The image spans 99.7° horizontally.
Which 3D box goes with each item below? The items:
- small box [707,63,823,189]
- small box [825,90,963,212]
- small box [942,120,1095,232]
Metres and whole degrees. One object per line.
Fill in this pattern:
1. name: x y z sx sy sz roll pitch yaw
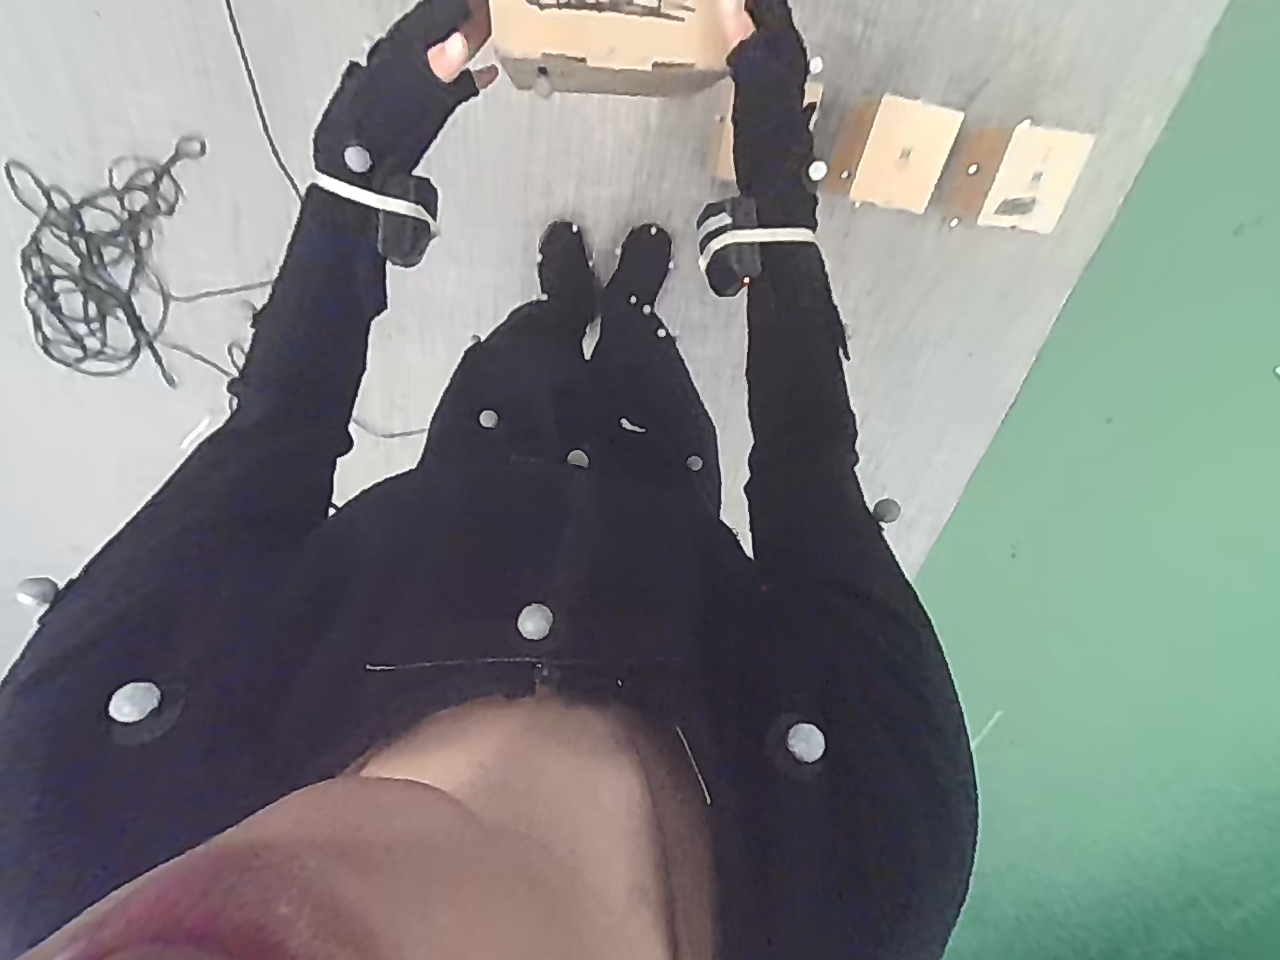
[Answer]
1. small box: 0.233 -0.689 1.064 0.168 0.176 0.179 7 122 -4
2. small box: 0.498 -0.661 1.093 0.168 0.176 0.179 8 122 -7
3. small box: 0.764 -0.629 1.118 0.168 0.176 0.179 5 121 -5
